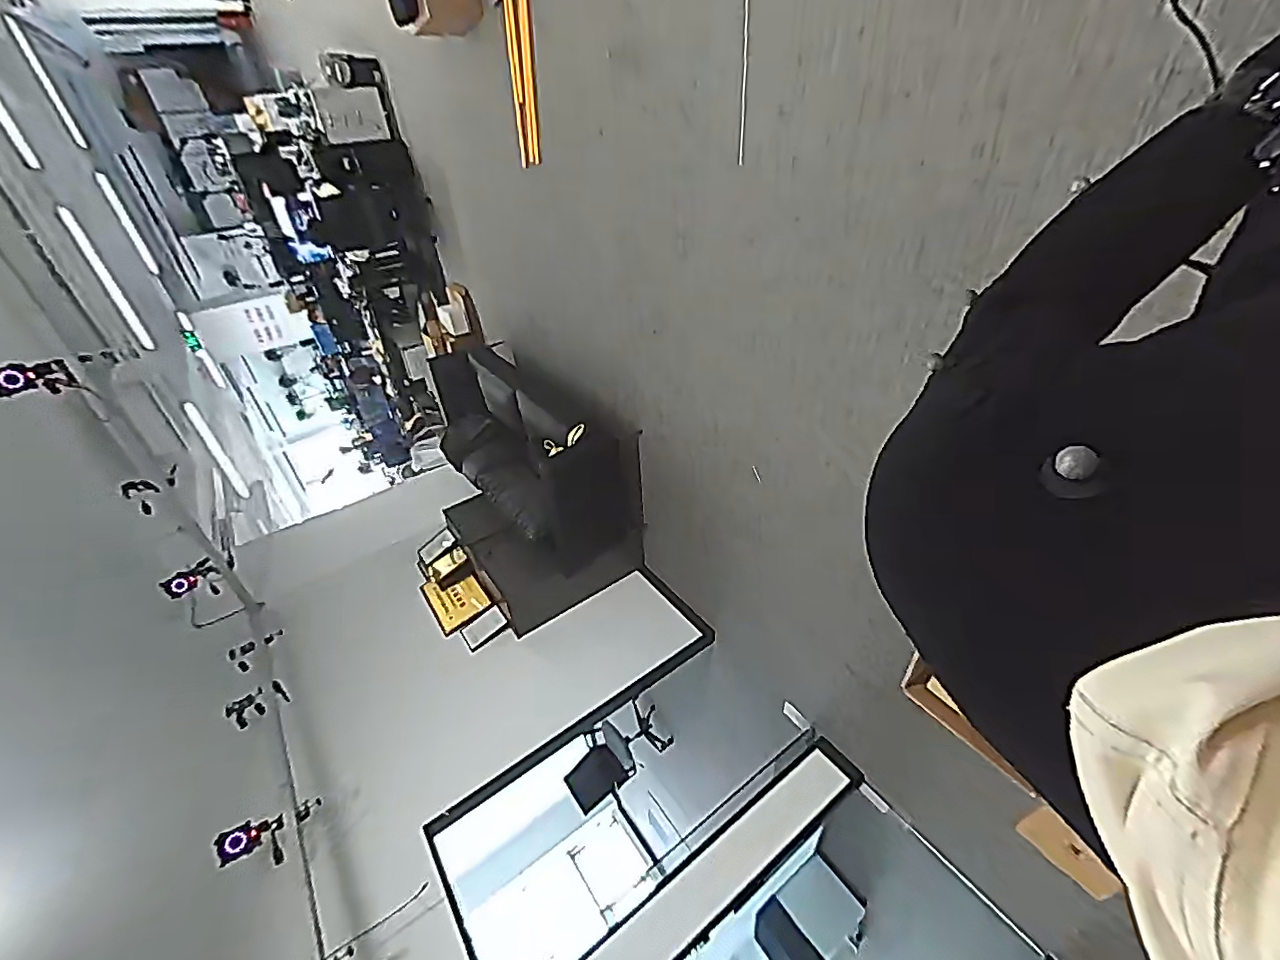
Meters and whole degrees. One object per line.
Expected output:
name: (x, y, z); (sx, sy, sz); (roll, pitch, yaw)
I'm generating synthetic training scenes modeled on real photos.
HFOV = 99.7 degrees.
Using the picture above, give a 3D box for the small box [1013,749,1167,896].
small box: (0.928, 0.703, 1.119); (0.168, 0.176, 0.179); (40, 145, 38)
